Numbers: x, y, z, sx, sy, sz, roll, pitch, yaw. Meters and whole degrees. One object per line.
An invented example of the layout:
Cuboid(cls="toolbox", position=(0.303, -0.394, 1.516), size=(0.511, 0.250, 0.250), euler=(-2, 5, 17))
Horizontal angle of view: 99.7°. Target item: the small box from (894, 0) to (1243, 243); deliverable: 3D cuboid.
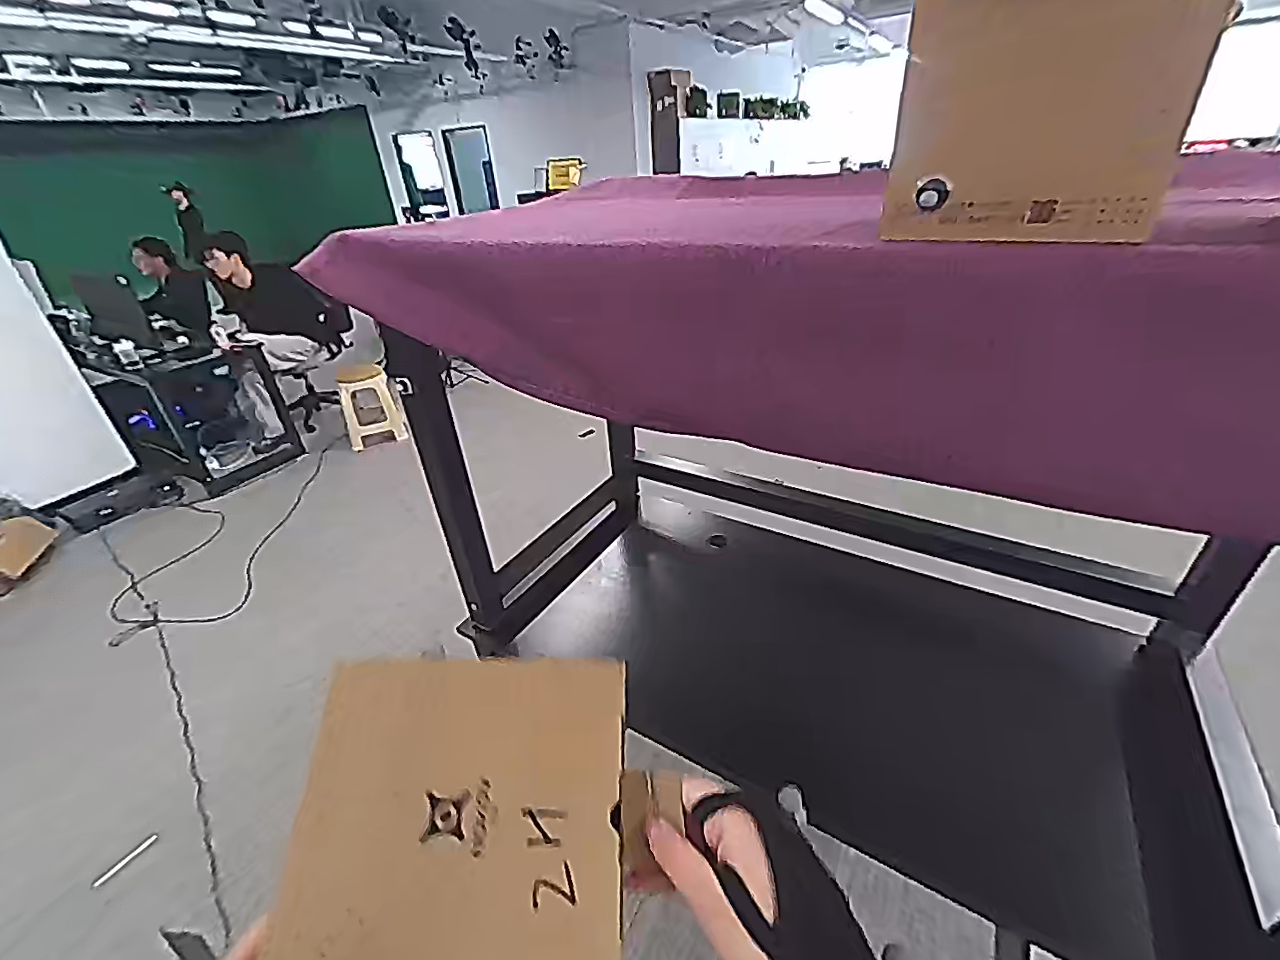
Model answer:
Cuboid(cls="small box", position=(0.300, -0.276, 0.401), size=(0.168, 0.176, 0.179), euler=(15, 35, 29))
